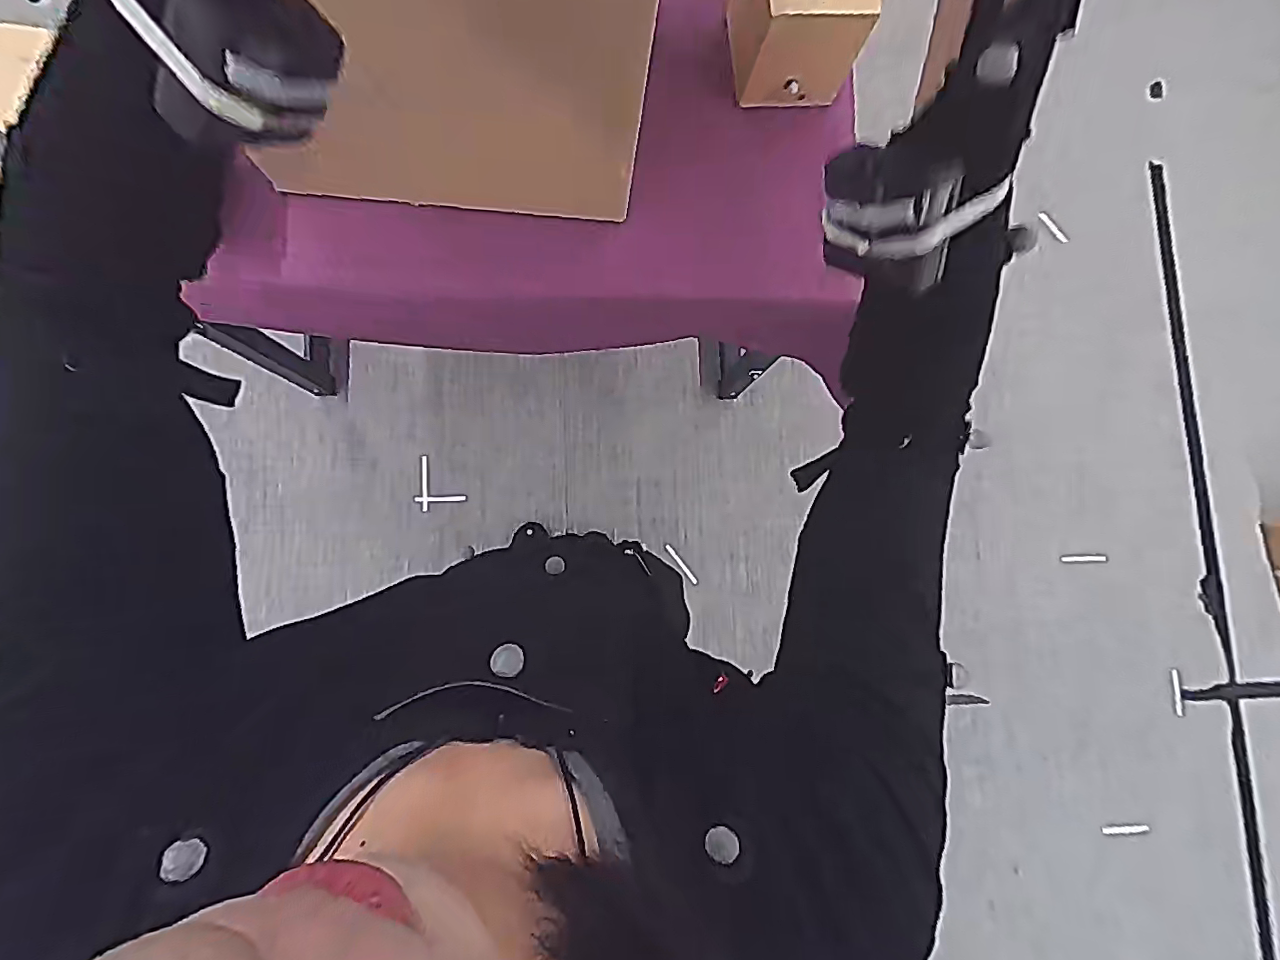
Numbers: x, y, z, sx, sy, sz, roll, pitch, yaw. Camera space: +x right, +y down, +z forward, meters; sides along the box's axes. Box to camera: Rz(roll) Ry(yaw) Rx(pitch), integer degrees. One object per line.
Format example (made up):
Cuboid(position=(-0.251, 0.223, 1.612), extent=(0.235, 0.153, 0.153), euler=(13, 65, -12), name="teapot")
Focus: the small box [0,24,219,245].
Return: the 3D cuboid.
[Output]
Cuboid(position=(-0.696, -0.436, 0.710), extent=(0.168, 0.176, 0.179), euler=(2, 81, -9), name="small box")
